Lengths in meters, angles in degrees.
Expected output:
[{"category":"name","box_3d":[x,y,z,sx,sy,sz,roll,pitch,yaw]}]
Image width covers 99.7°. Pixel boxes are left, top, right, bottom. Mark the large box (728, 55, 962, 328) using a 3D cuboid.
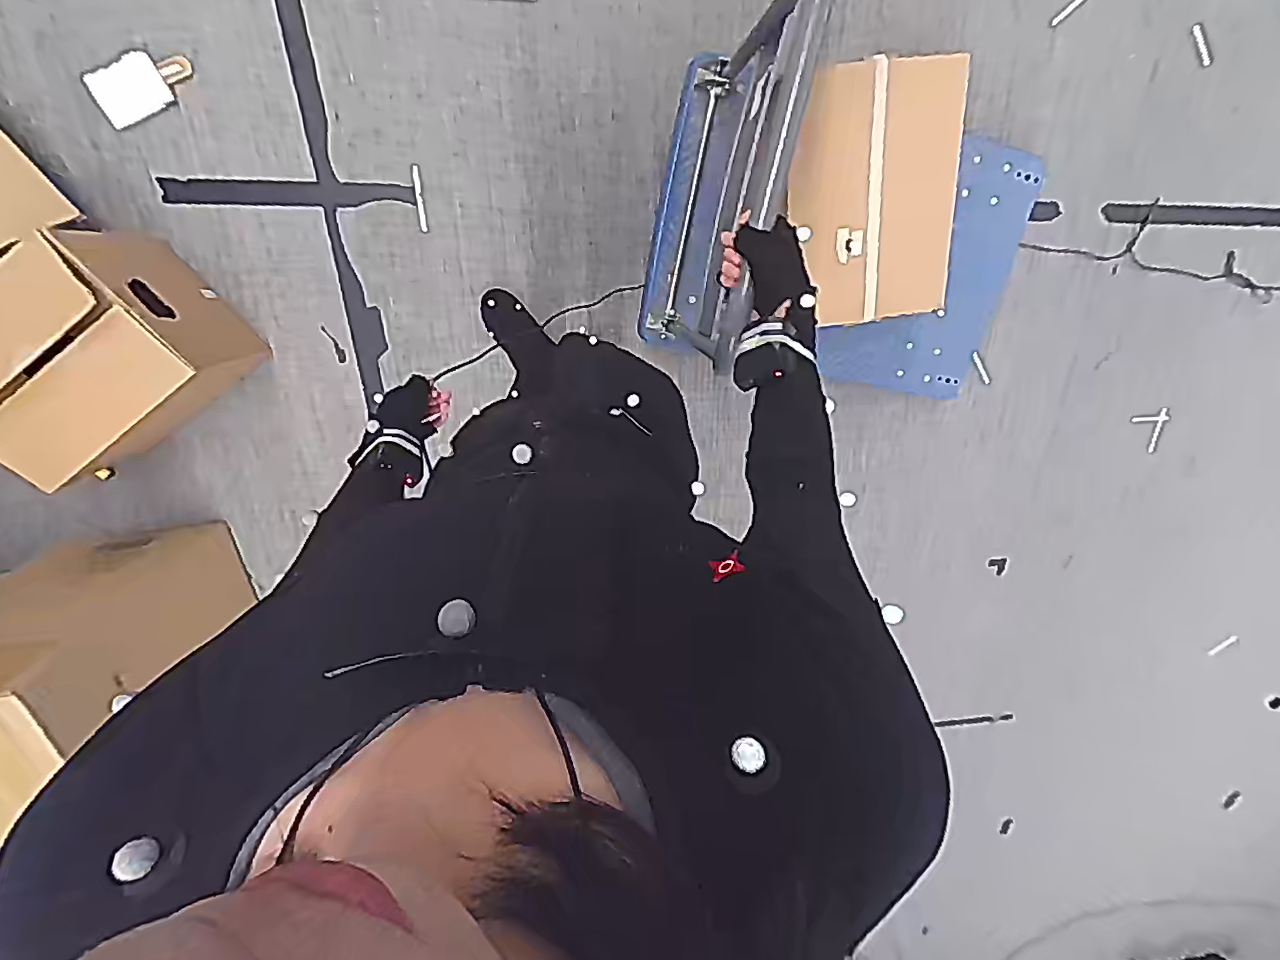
[{"category":"large box","box_3d":[0.376,-0.542,1.076,0.320,0.320,0.408,-9,113,-5]}]
